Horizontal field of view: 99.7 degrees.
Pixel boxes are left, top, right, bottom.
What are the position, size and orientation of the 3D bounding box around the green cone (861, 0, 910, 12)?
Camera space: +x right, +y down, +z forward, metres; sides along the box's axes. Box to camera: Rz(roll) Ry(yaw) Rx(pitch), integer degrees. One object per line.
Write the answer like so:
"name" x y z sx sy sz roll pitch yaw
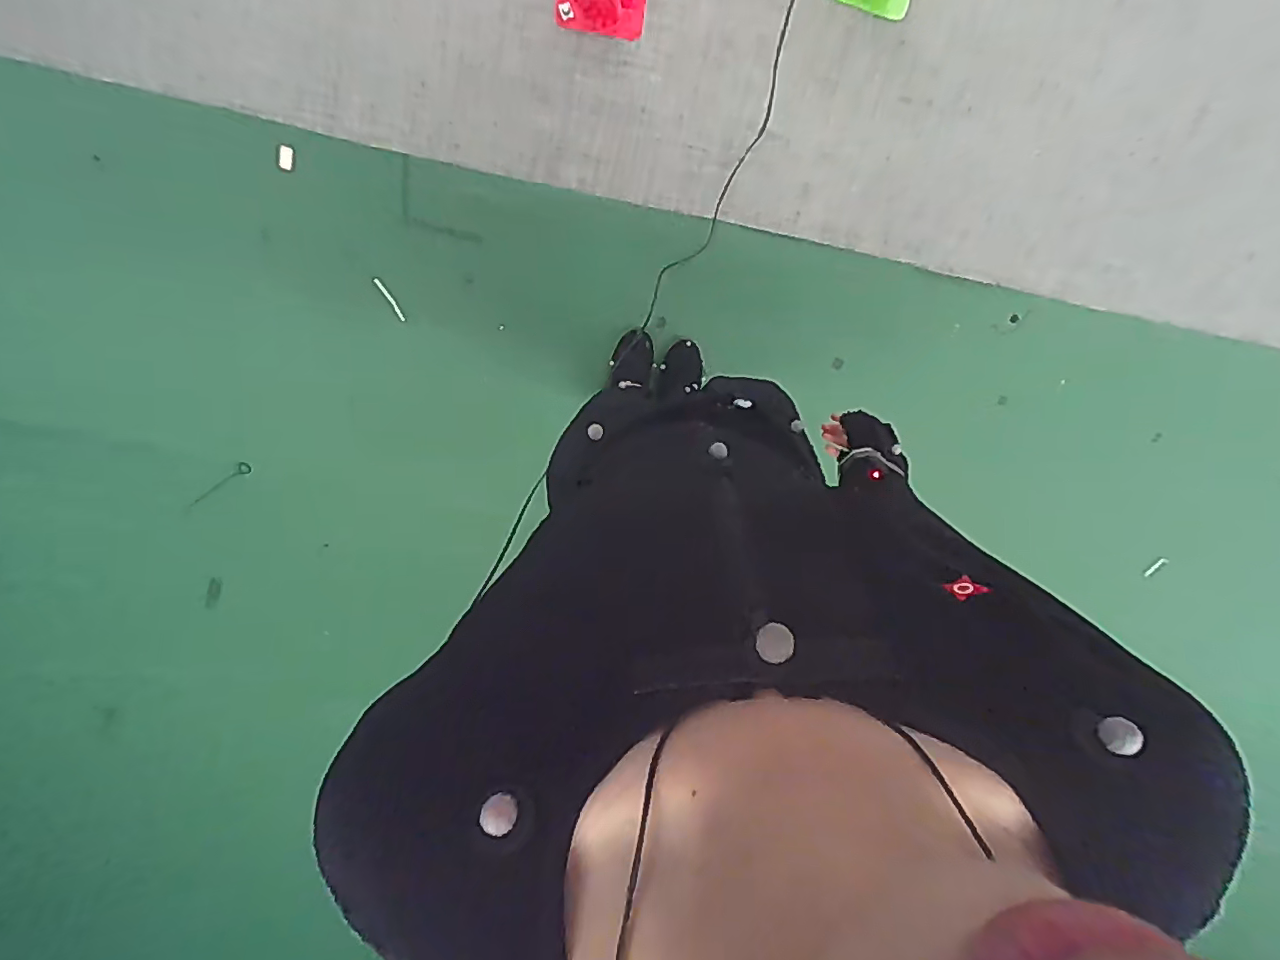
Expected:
"green cone" 0.537 -1.114 1.020 0.200 0.368 0.202 12 106 -6
